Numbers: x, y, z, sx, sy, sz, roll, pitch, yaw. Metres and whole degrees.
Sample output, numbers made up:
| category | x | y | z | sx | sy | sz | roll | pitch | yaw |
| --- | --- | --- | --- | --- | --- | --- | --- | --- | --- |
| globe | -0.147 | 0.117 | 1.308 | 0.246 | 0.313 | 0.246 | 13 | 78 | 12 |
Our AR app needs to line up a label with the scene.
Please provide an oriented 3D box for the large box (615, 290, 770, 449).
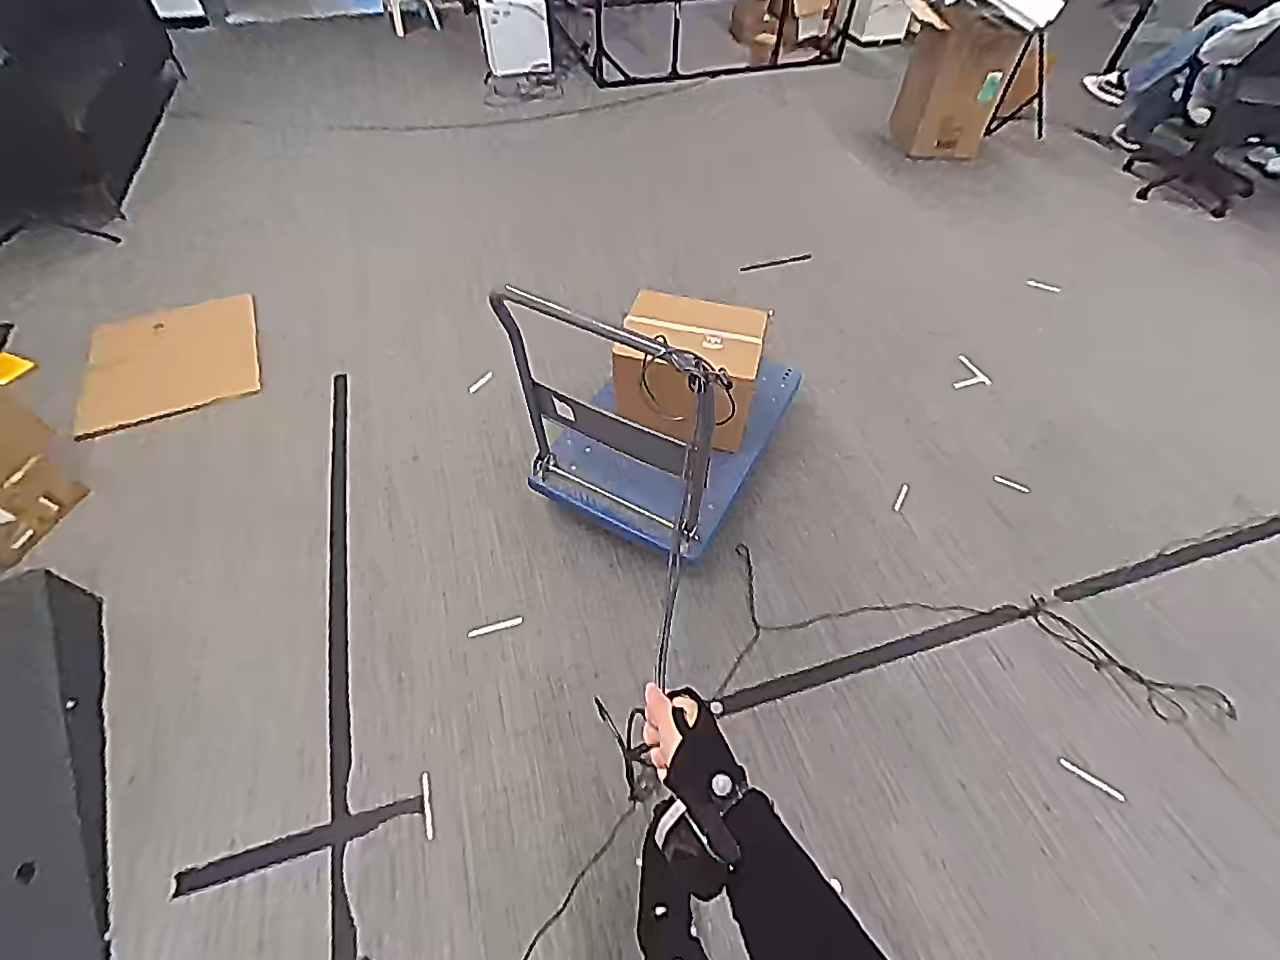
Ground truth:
| category | x | y | z | sx | sy | sz | roll | pitch | yaw |
| --- | --- | --- | --- | --- | --- | --- | --- | --- | --- |
| large box | 0.154 | -0.337 | 1.668 | 0.408 | 0.320 | 0.320 | 13 | 55 | 8 |
